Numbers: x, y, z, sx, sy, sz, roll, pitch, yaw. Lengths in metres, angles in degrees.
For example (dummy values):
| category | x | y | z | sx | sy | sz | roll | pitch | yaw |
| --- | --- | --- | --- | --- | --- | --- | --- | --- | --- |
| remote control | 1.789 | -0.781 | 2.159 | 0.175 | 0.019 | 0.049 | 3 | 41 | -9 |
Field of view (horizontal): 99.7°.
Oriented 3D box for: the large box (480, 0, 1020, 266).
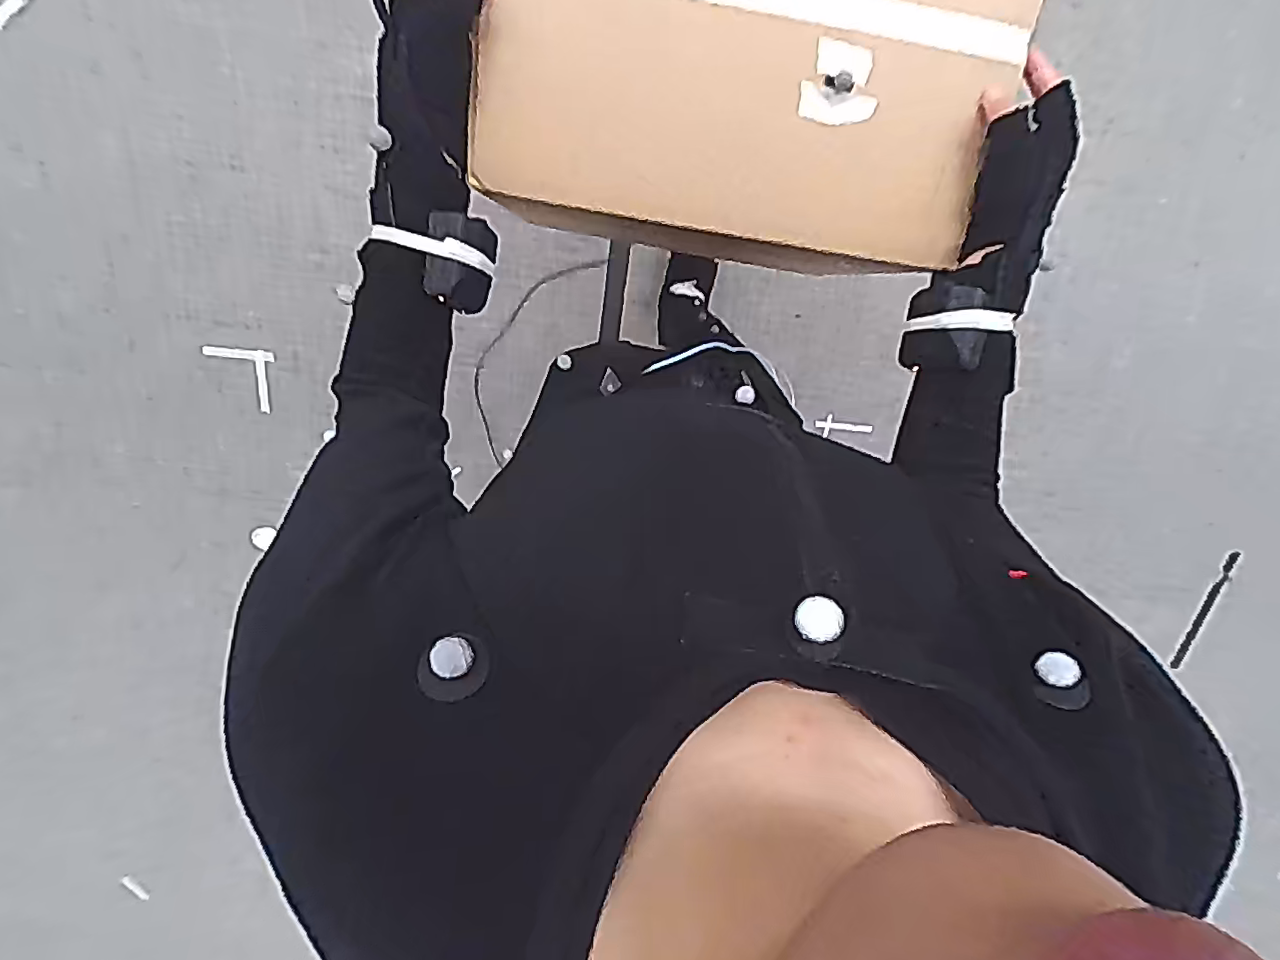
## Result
| category | x | y | z | sx | sy | sz | roll | pitch | yaw |
| --- | --- | --- | --- | --- | --- | --- | --- | --- | --- |
| large box | 0.076 | -0.408 | 0.539 | 0.408 | 0.320 | 0.320 | 7 | 110 | -7 |
